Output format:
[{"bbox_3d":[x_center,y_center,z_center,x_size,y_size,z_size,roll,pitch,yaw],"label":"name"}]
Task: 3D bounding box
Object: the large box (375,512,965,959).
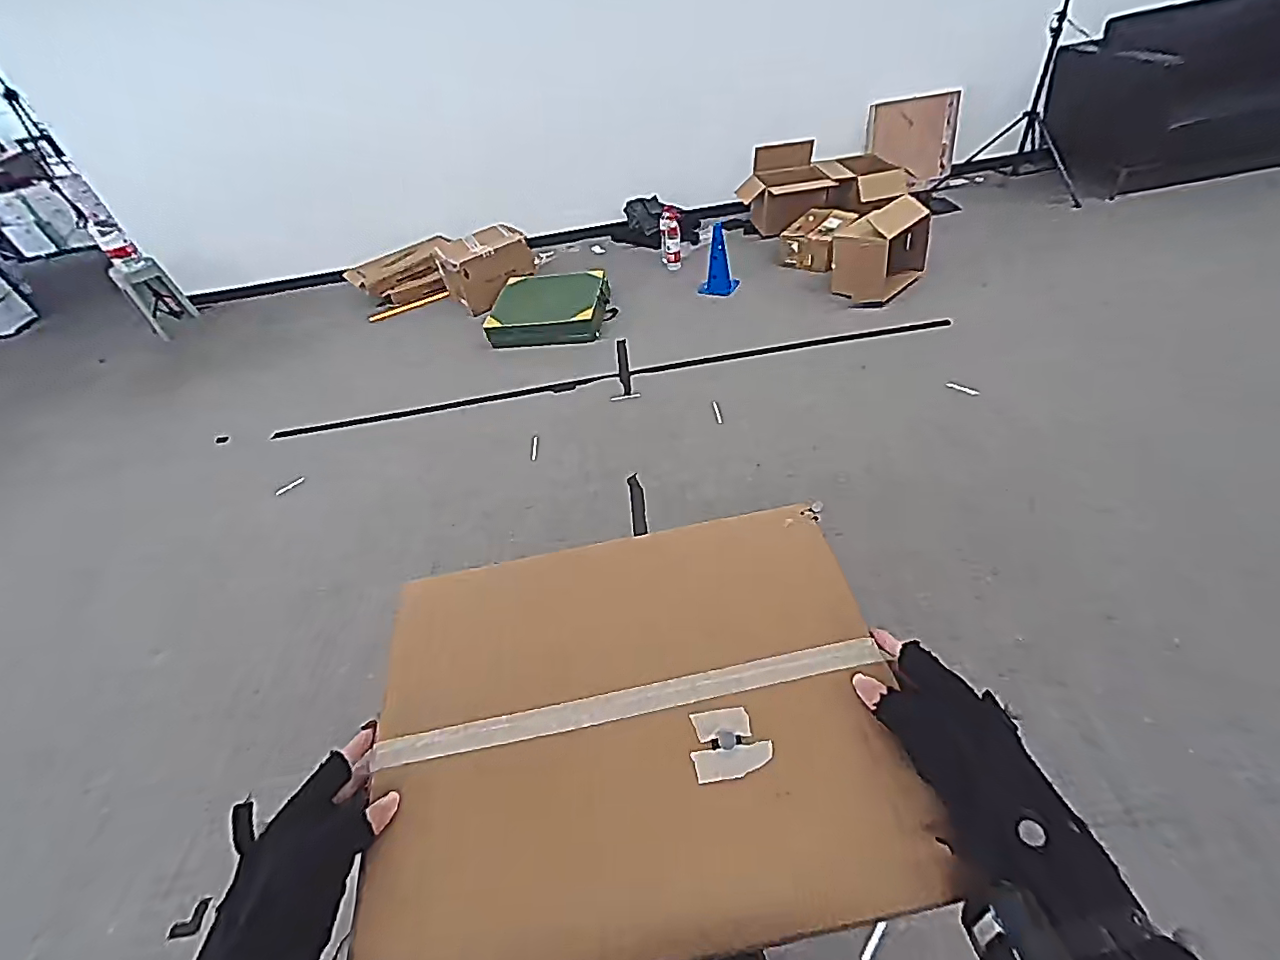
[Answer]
[{"bbox_3d":[0.013,0.280,0.556,0.408,0.320,0.320,-11,49,-2],"label":"large box"}]
